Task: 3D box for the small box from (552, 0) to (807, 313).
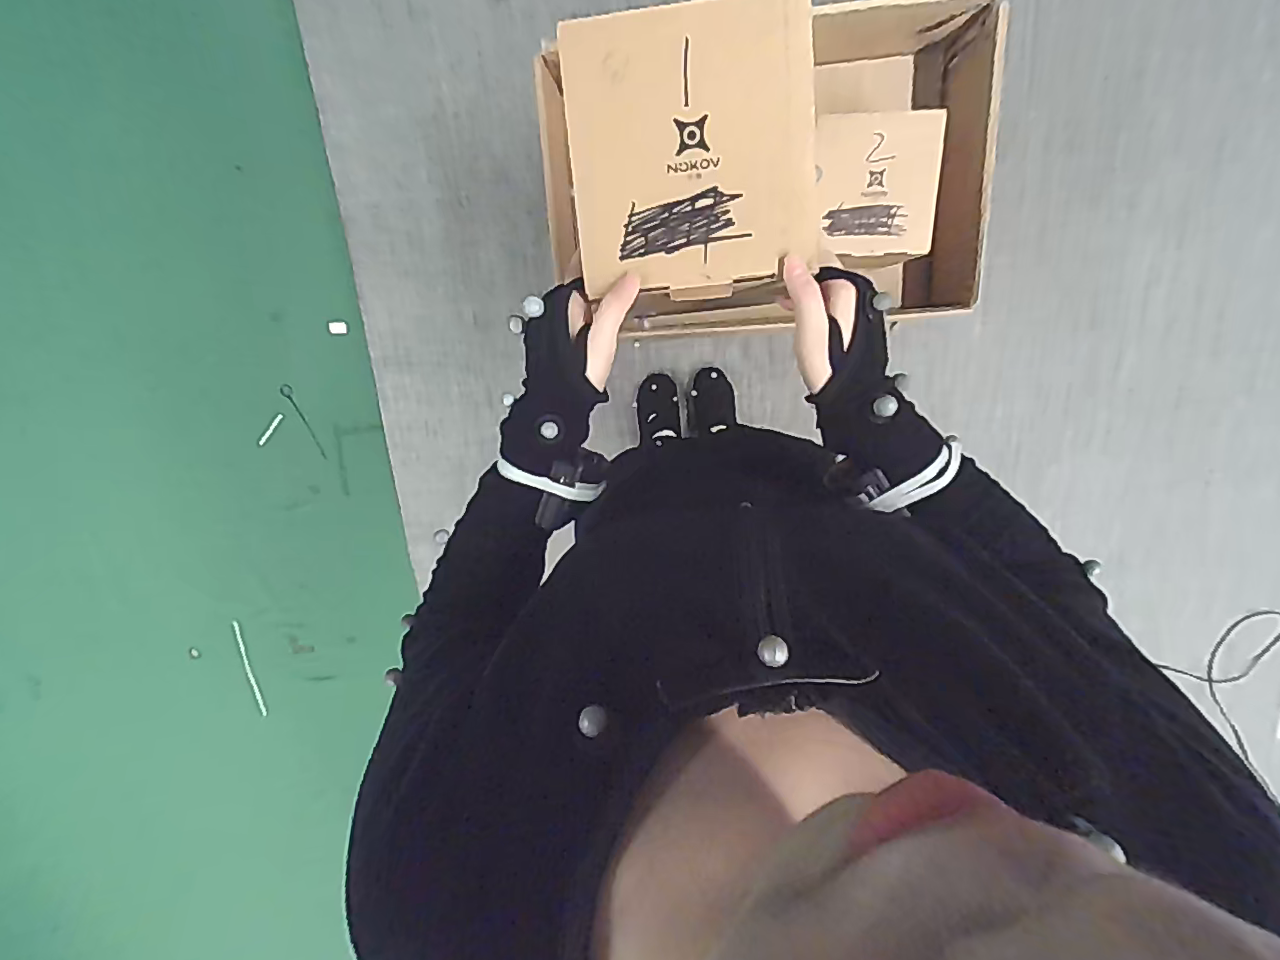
[{"bbox_3d":[0.037,-0.238,0.445,0.168,0.176,0.179,-4,100,6],"label":"small box"}]
